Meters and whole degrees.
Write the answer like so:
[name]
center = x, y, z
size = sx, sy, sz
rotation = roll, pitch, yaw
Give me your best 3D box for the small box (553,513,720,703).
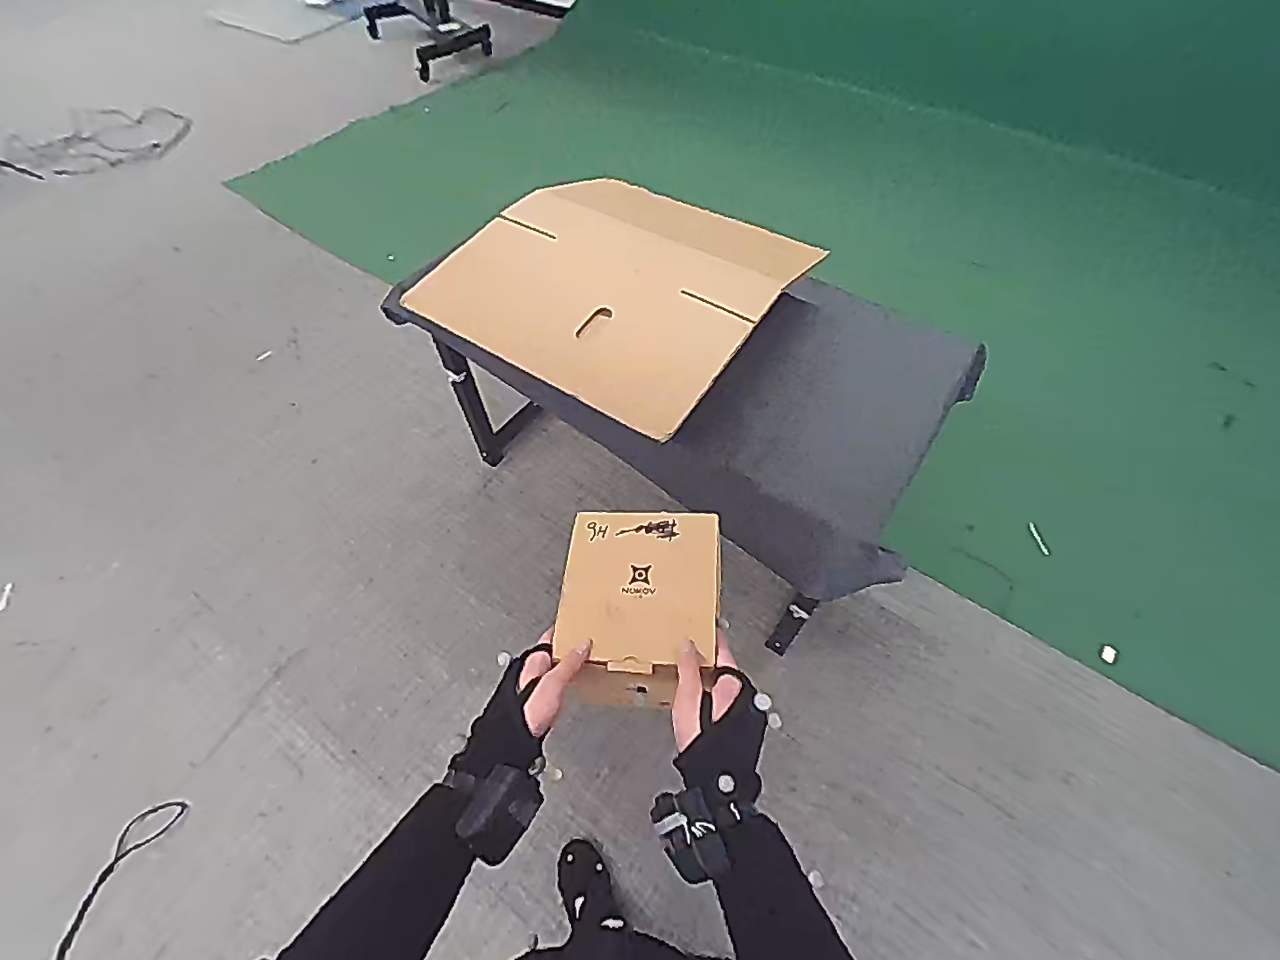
[small box]
center = 0.008, 0.157, 0.643
size = 0.168, 0.176, 0.179
rotation = -2, 54, 8
